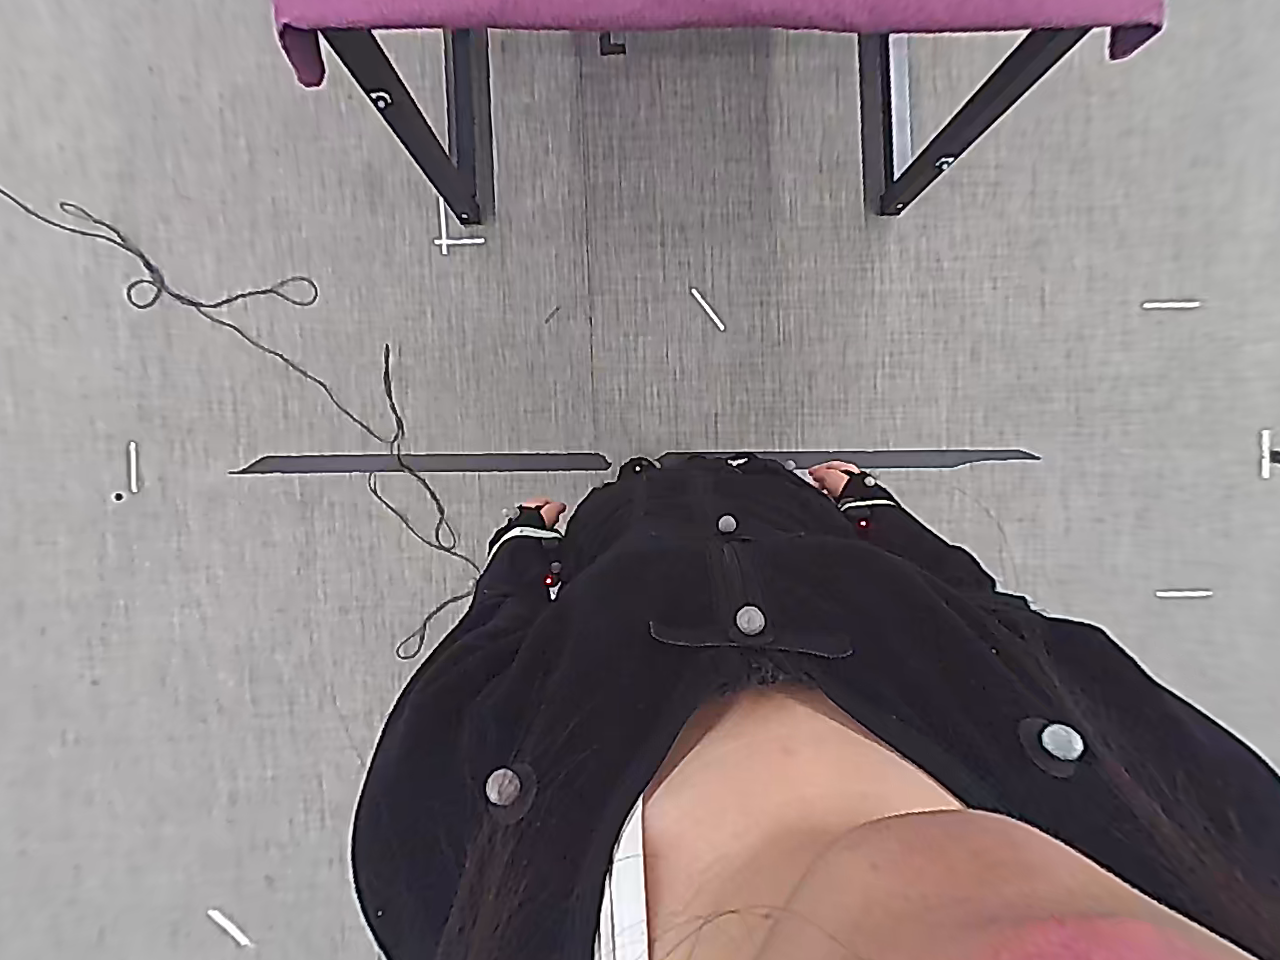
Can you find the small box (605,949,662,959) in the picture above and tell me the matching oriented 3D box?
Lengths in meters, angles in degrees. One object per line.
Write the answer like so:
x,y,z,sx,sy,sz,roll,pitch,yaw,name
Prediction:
-0.008,1.403,1.424,0.168,0.176,0.179,-10,92,-1,small box
